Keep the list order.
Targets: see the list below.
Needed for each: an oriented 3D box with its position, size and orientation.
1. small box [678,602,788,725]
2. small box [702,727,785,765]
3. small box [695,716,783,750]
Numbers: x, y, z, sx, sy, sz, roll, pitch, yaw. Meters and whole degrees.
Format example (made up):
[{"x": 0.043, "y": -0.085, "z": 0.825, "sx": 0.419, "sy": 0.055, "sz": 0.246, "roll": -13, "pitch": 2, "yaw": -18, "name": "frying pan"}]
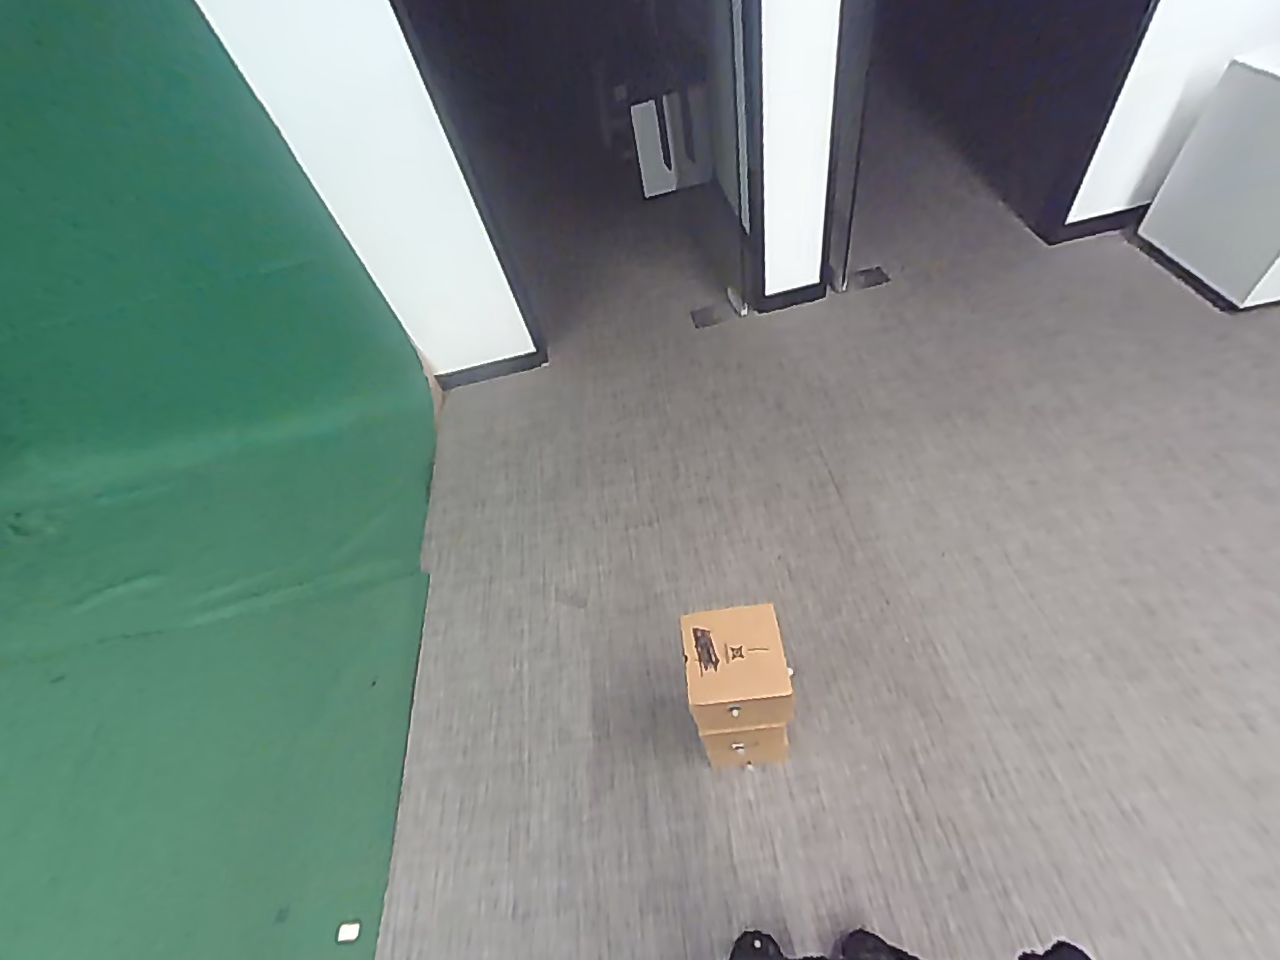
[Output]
[{"x": 0.174, "y": 0.349, "z": 1.013, "sx": 0.179, "sy": 0.176, "sz": 0.168, "roll": -9, "pitch": 51, "yaw": 7, "name": "small box"}, {"x": 0.232, "y": 0.554, "z": 1.261, "sx": 0.179, "sy": 0.176, "sz": 0.168, "roll": -9, "pitch": 51, "yaw": 7, "name": "small box"}, {"x": 0.200, "y": 0.451, "z": 1.140, "sx": 0.168, "sy": 0.176, "sz": 0.179, "roll": -11, "pitch": 51, "yaw": 8, "name": "small box"}]
